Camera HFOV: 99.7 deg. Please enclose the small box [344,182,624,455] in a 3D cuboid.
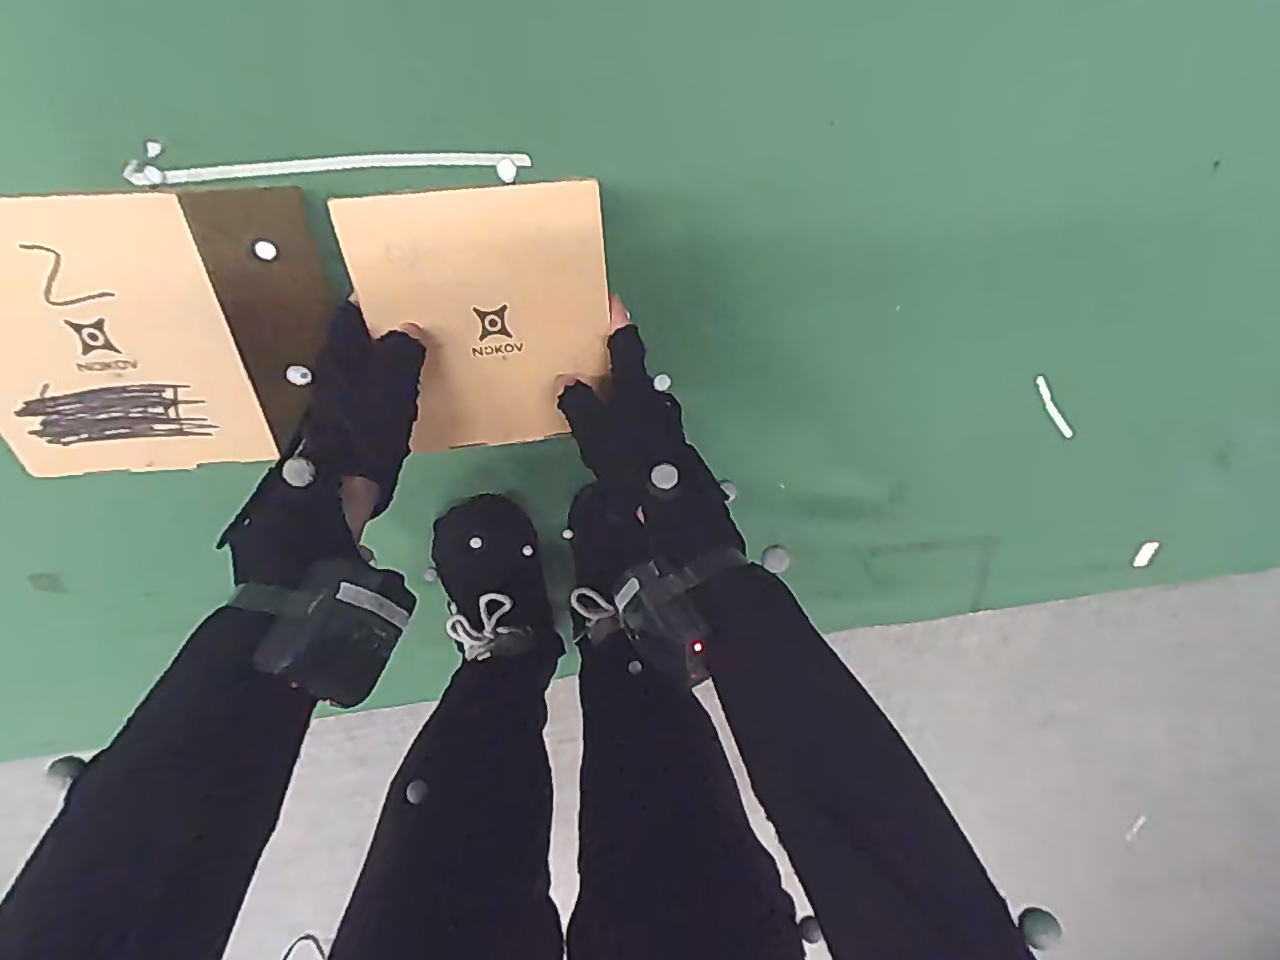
[{"bbox_3d":[-0.108,-0.142,0.445,0.168,0.176,0.179,-7,121,-5],"label":"small box"}]
